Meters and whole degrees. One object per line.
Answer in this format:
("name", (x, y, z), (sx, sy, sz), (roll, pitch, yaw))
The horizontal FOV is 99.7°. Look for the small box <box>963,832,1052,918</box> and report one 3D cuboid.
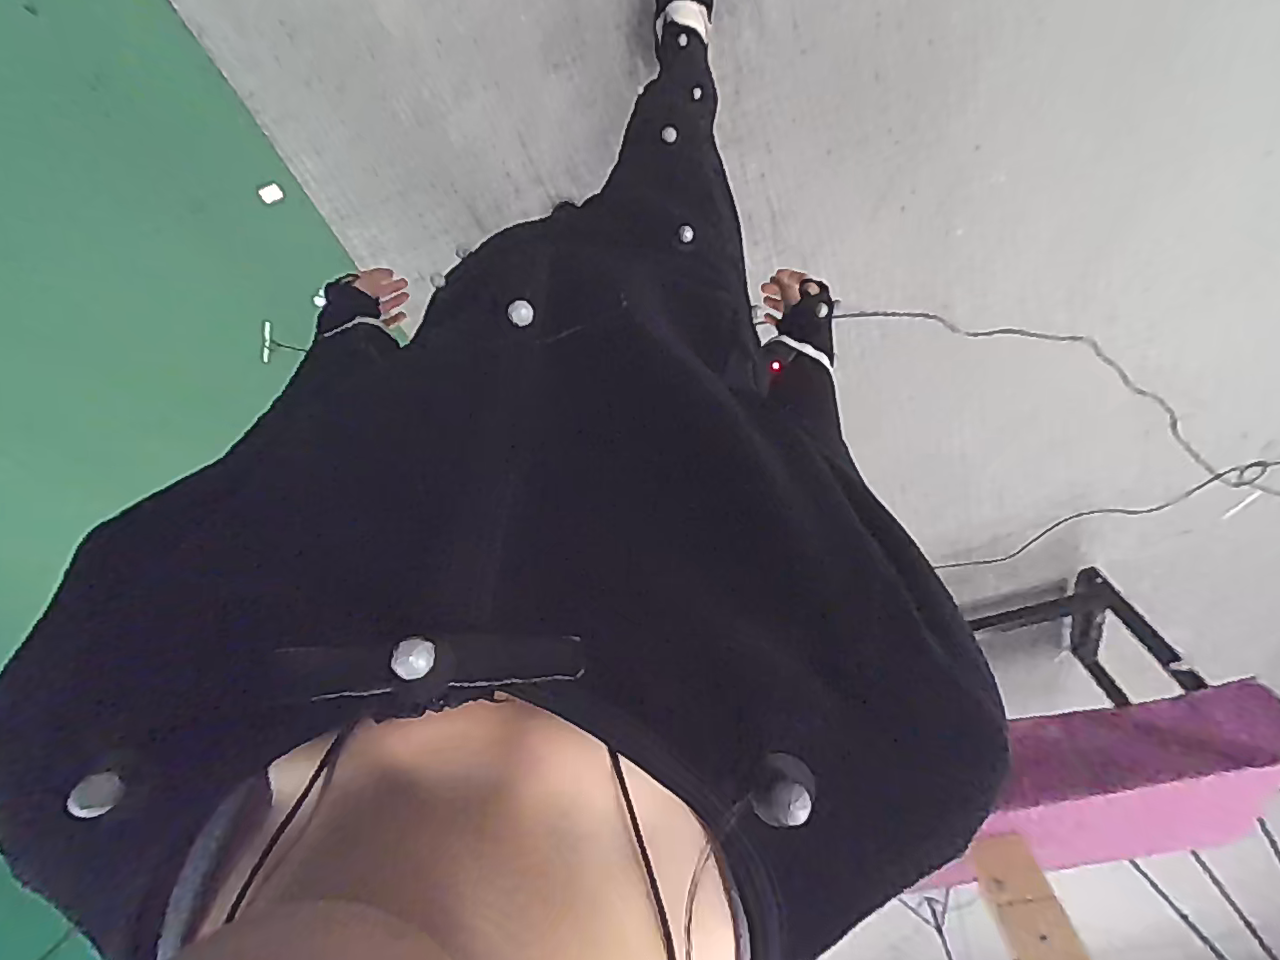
("small box", (1.129, 1.224, 1.677), (0.179, 0.176, 0.168), (-18, 126, 12))
